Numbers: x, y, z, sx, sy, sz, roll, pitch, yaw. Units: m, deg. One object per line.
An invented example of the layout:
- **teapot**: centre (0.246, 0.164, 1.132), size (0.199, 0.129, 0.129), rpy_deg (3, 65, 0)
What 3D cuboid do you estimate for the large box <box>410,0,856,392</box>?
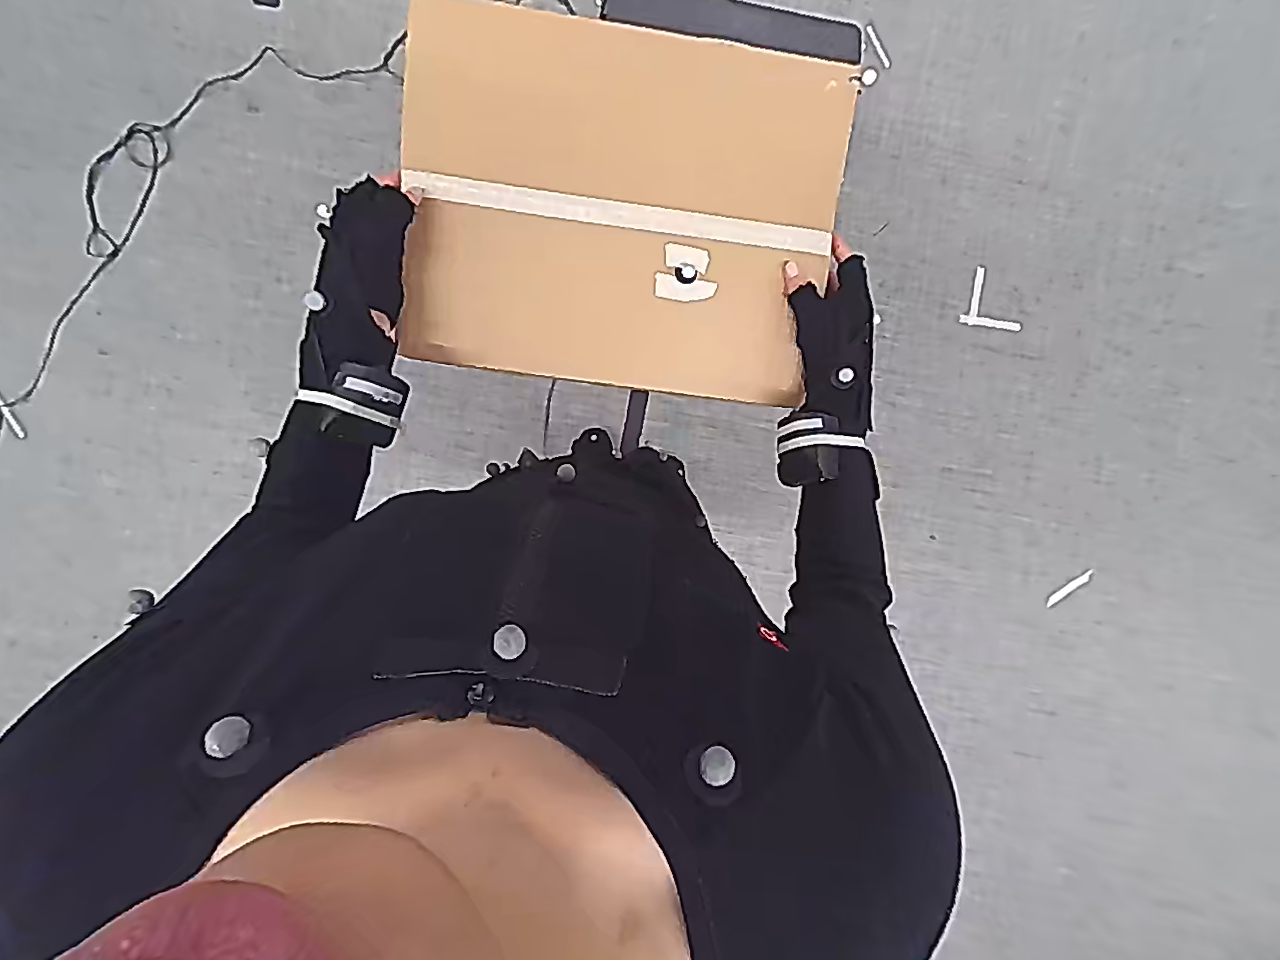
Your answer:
- **large box**: centre (-0.022, -0.285, 0.657), size (0.408, 0.320, 0.320), rpy_deg (6, 101, -5)
